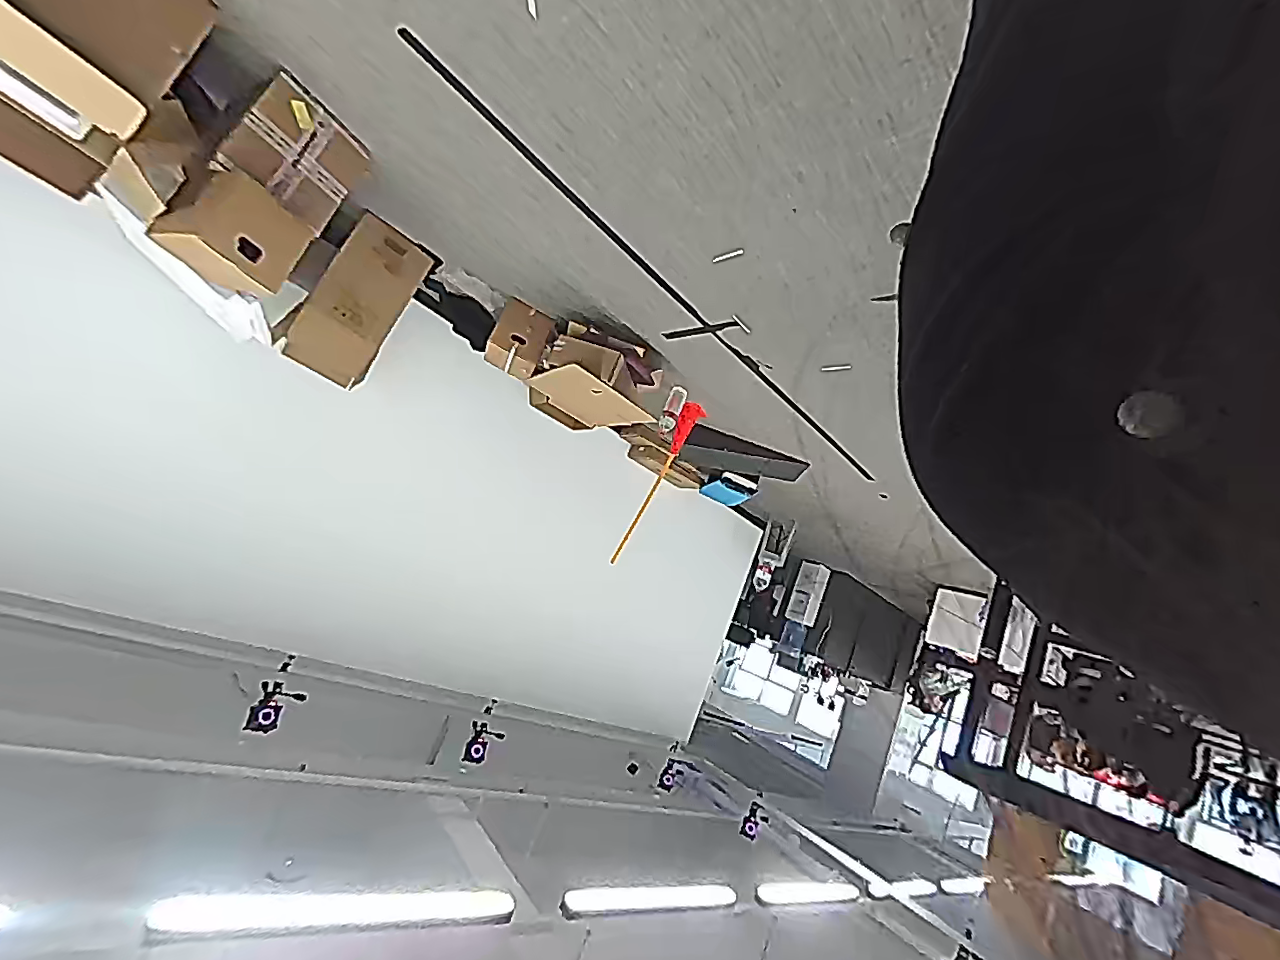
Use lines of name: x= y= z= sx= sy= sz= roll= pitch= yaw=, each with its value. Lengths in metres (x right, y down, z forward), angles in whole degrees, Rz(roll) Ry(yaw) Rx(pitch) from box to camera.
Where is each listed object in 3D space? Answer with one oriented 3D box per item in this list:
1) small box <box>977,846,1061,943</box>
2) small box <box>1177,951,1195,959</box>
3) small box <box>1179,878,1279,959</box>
small box: x=1.155 y=1.245 z=1.642 sx=0.168 sy=0.176 sz=0.179 roll=8 pitch=162 yaw=47
small box: x=1.425 y=1.279 z=1.307 sx=0.168 sy=0.176 sz=0.179 roll=26 pitch=168 yaw=-29
small box: x=1.475 y=1.127 z=1.332 sx=0.168 sy=0.176 sz=0.179 roll=28 pitch=168 yaw=-33
